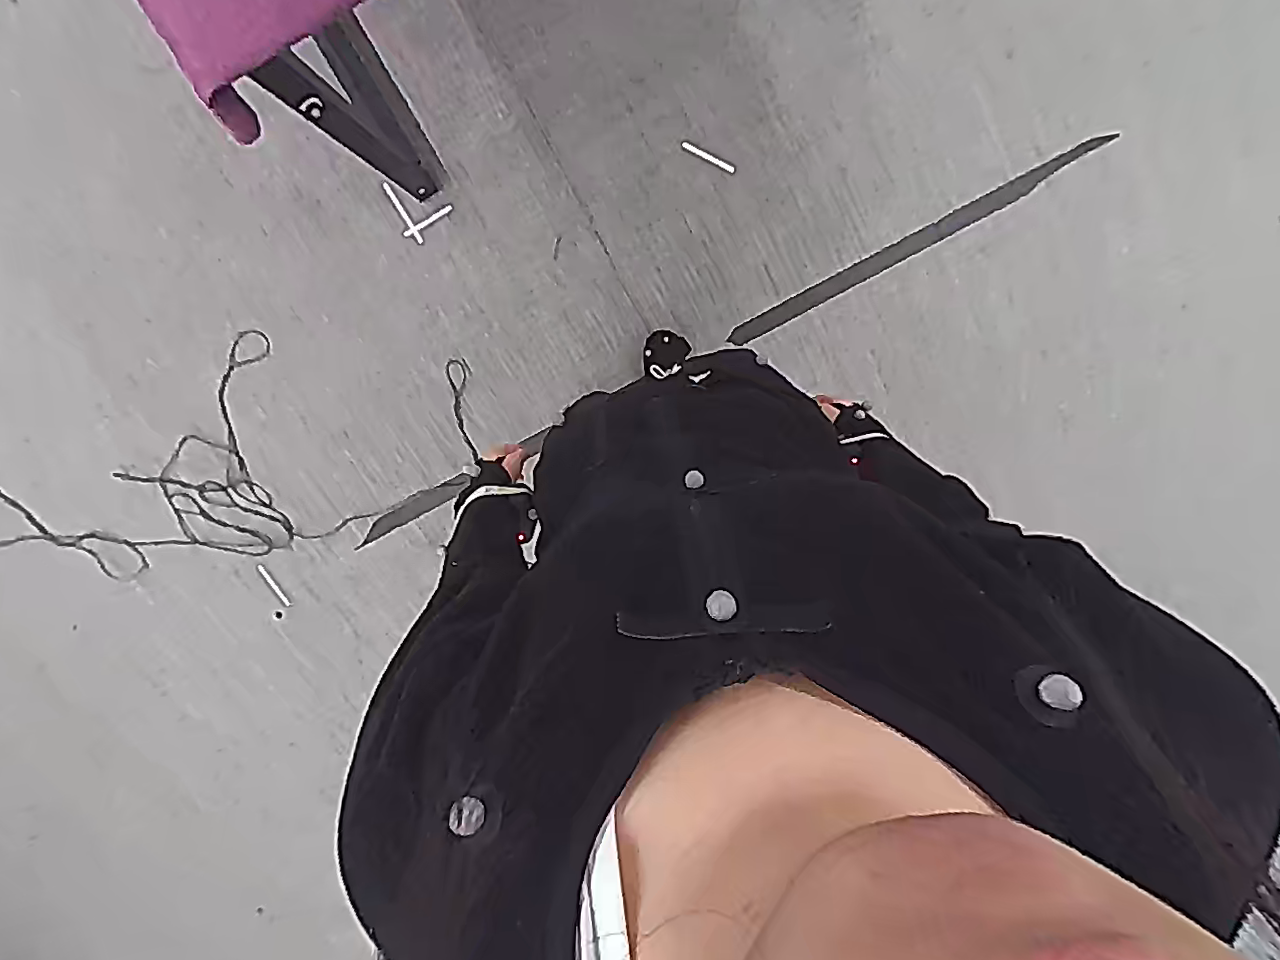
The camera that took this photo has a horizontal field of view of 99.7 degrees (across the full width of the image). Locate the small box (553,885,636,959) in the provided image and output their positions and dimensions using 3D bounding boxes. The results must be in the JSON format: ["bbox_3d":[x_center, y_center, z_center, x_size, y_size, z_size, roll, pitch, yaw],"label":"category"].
[{"bbox_3d":[-0.115,1.187,1.382,0.179,0.176,0.168,20,101,-5],"label":"small box"}]
